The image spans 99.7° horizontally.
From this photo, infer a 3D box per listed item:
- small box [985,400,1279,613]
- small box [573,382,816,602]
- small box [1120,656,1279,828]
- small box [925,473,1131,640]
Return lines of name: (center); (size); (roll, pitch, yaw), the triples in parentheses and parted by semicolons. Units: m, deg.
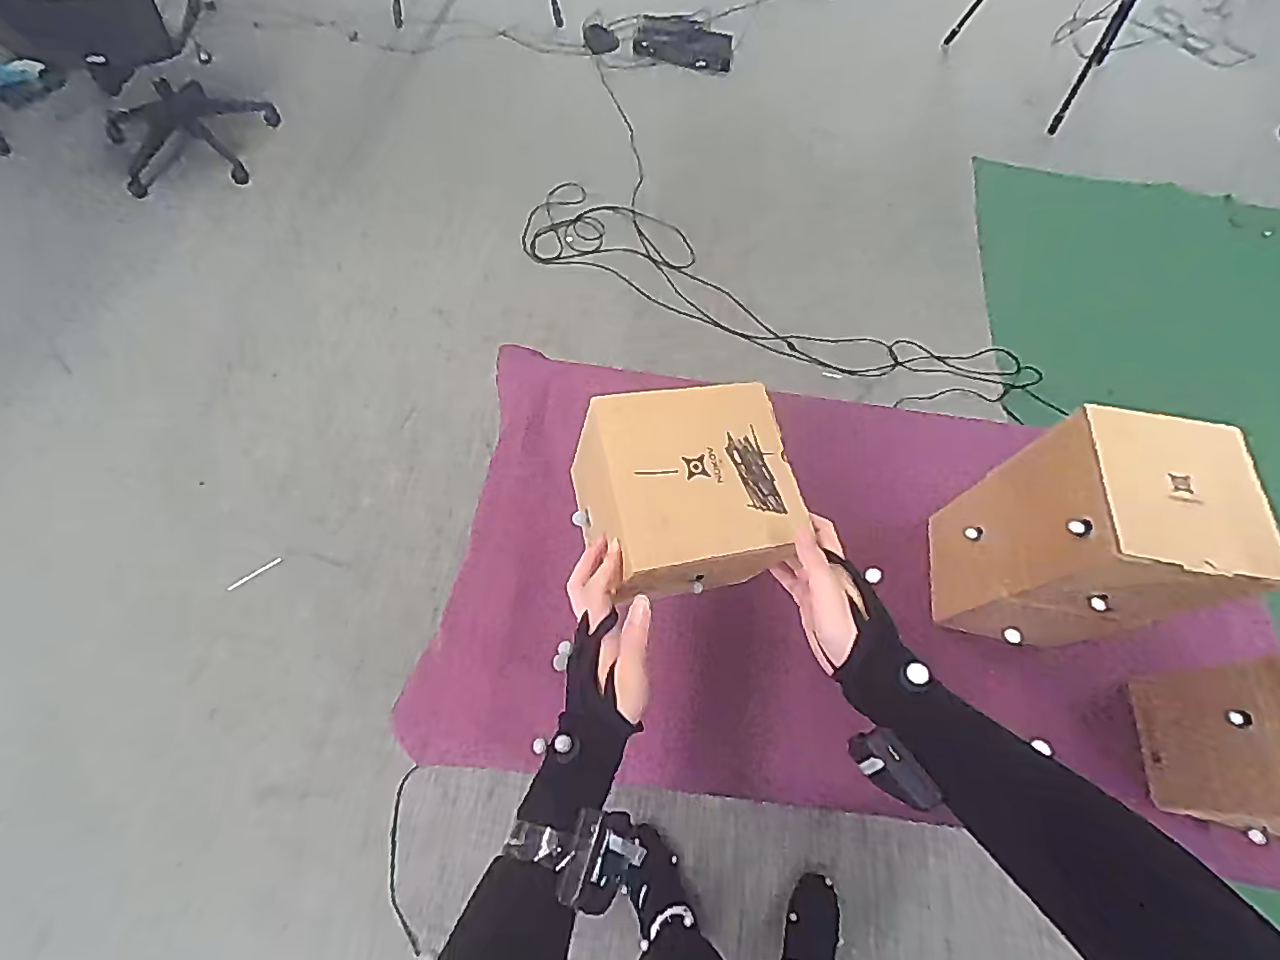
small box: (0.527, 0.038, 0.615); (0.168, 0.176, 0.179); (10, 65, 1)
small box: (0.040, 0.018, 0.548); (0.179, 0.176, 0.168); (-7, 70, -17)
small box: (0.762, 0.330, 0.670); (0.179, 0.176, 0.168); (12, 63, 2)
small box: (0.524, 0.110, 0.761); (0.168, 0.176, 0.179); (12, 65, 3)
